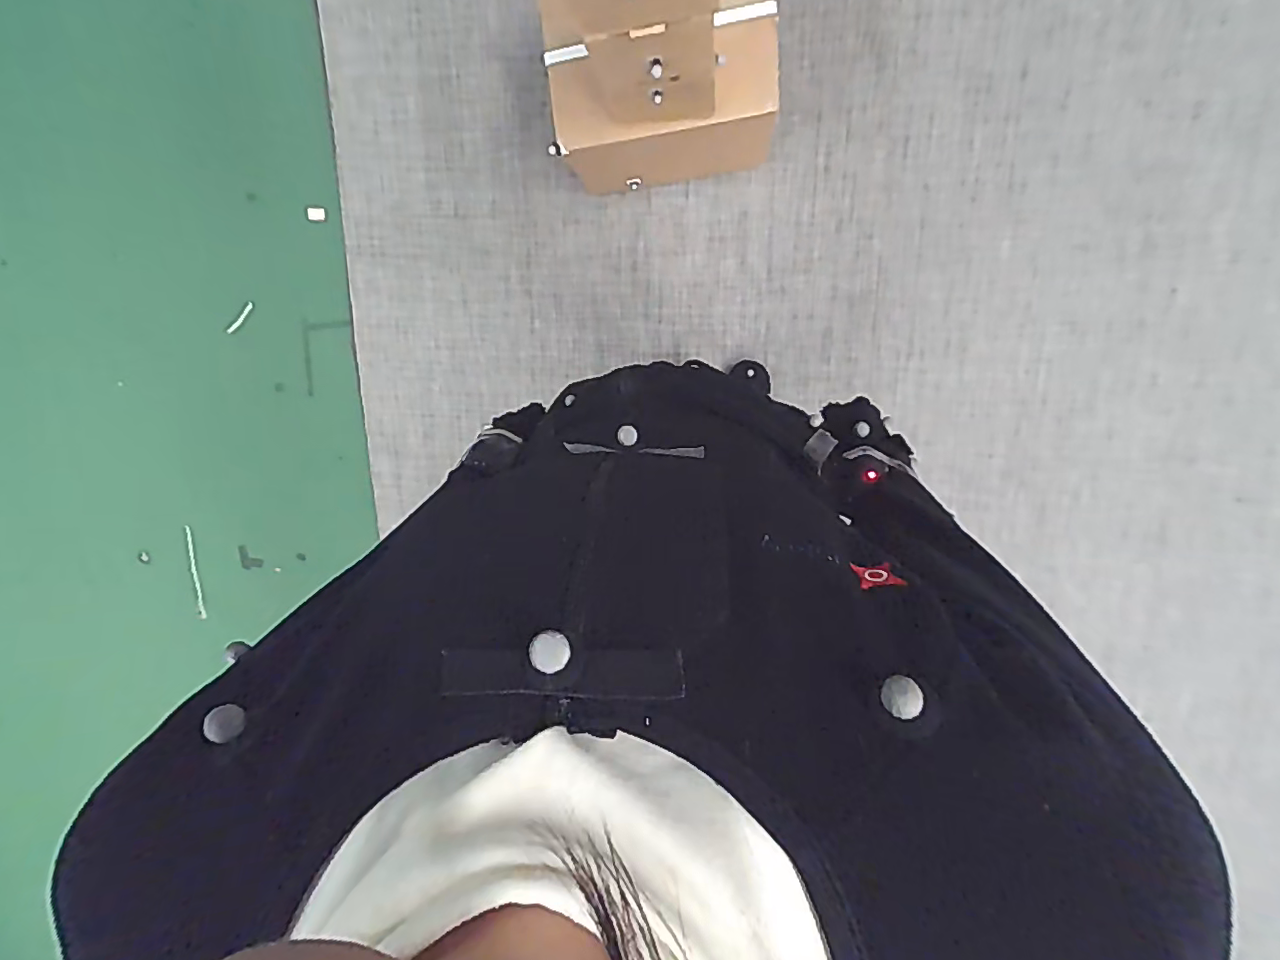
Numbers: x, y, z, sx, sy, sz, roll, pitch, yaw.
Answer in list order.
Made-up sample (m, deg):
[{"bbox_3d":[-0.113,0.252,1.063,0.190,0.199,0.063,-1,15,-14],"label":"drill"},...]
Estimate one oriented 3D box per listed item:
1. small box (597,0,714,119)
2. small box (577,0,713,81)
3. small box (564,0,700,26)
[{"bbox_3d":[0.028,-0.706,0.866,0.179,0.176,0.168,-2,106,8],"label":"small box"},{"bbox_3d":[0.008,-0.659,0.711,0.168,0.176,0.179,-3,106,10],"label":"small box"},{"bbox_3d":[-0.011,-0.613,0.554,0.179,0.176,0.168,-2,105,10],"label":"small box"}]
